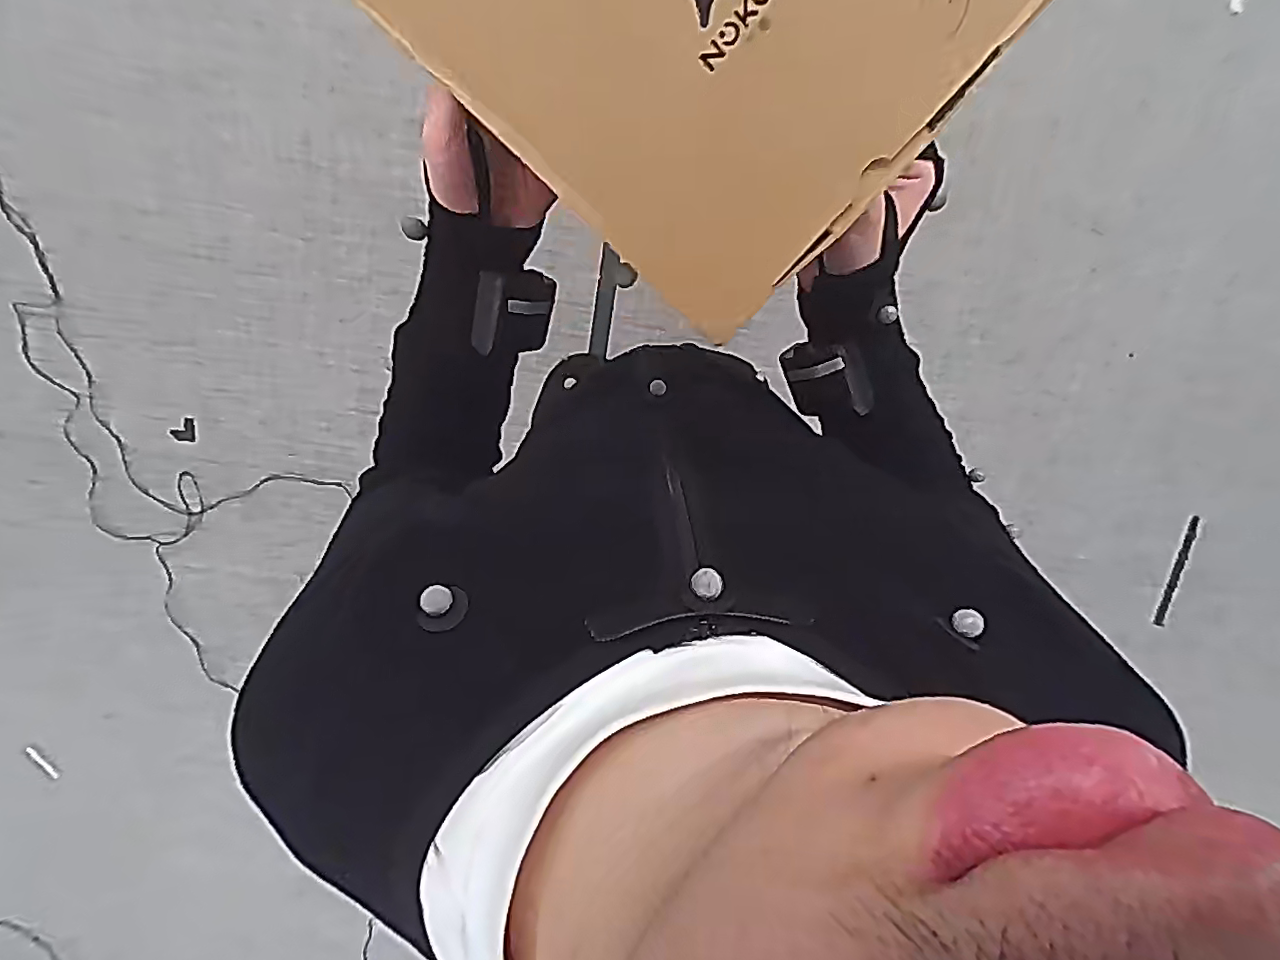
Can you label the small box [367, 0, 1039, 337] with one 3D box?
[{"bbox_3d":[0.022,-0.200,0.255,0.179,0.176,0.168,37,109,-17],"label":"small box"}]
